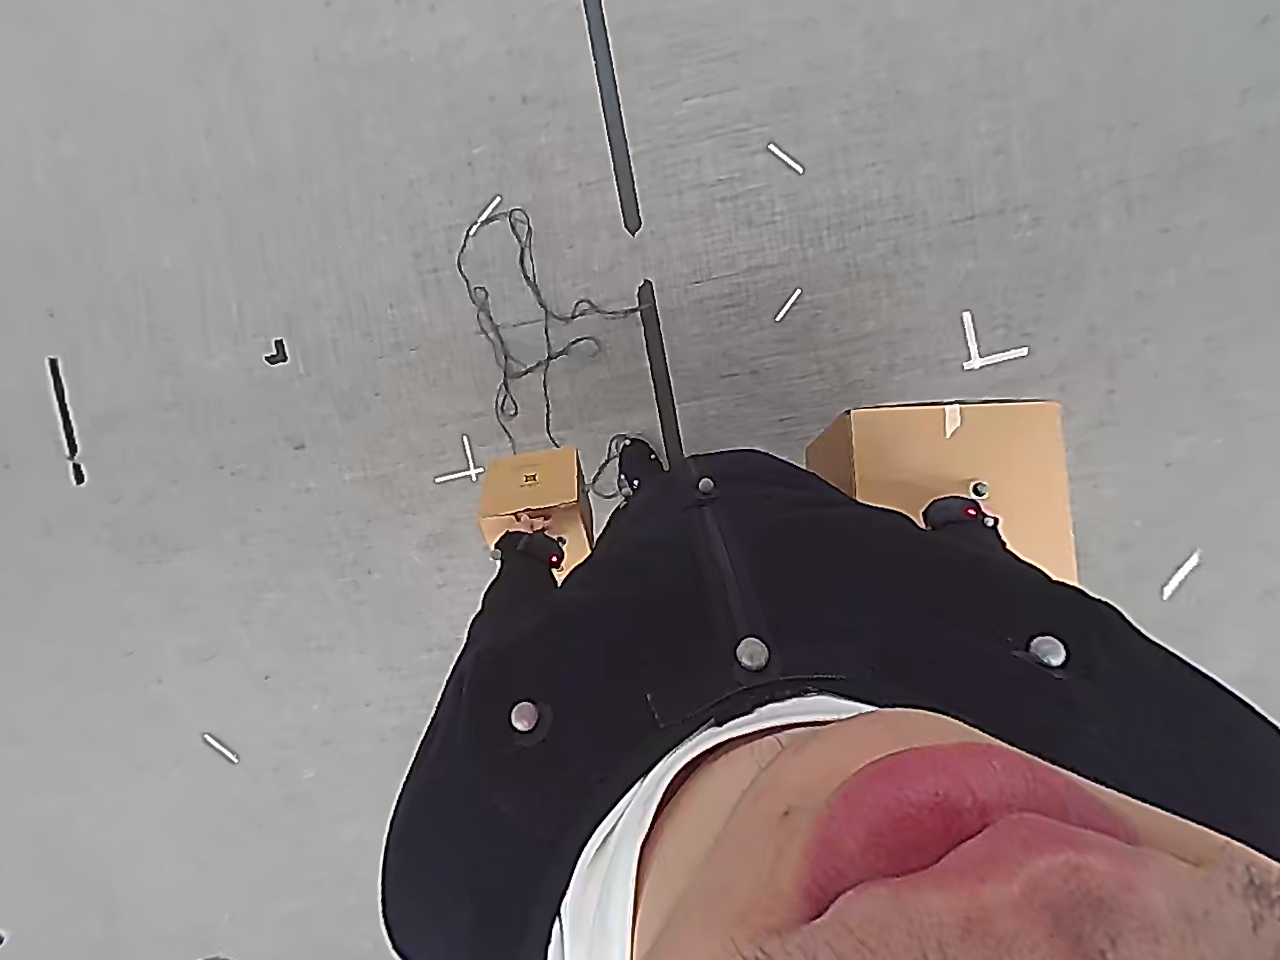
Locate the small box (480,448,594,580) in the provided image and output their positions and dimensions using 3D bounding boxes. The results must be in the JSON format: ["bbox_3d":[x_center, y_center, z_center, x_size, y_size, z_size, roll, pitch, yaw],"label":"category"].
[{"bbox_3d":[-0.181,0.067,0.999,0.168,0.179,0.176,-9,124,-1],"label":"small box"}]
